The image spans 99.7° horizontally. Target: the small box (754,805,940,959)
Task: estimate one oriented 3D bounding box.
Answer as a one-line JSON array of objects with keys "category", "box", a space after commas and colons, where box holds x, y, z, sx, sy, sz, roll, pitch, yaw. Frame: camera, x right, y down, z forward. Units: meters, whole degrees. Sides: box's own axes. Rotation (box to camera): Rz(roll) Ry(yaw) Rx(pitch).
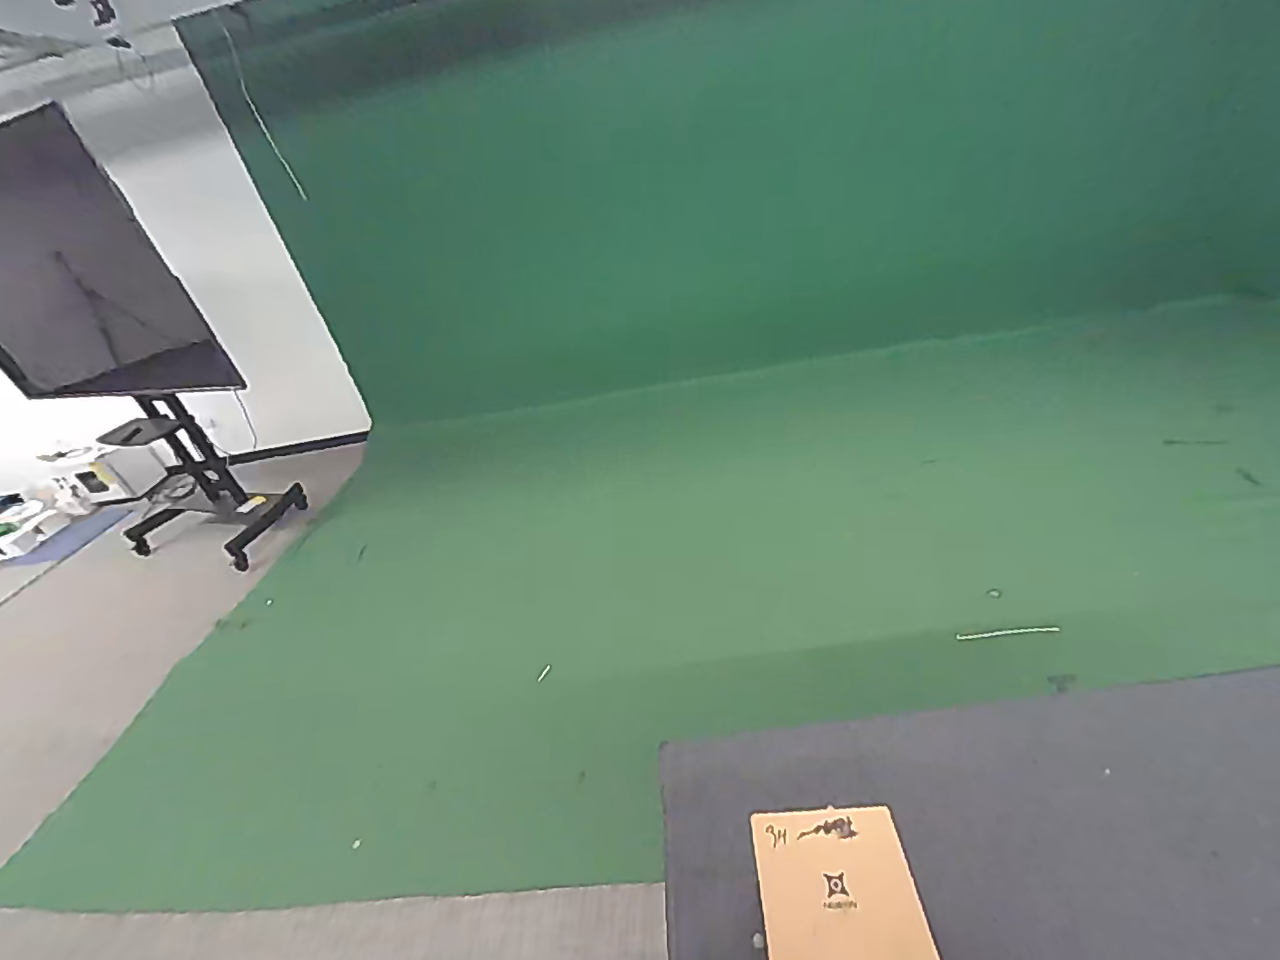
[{"category": "small box", "box": [0.231, 0.512, 0.627, 0.168, 0.176, 0.179, -7, 33, 7]}]
